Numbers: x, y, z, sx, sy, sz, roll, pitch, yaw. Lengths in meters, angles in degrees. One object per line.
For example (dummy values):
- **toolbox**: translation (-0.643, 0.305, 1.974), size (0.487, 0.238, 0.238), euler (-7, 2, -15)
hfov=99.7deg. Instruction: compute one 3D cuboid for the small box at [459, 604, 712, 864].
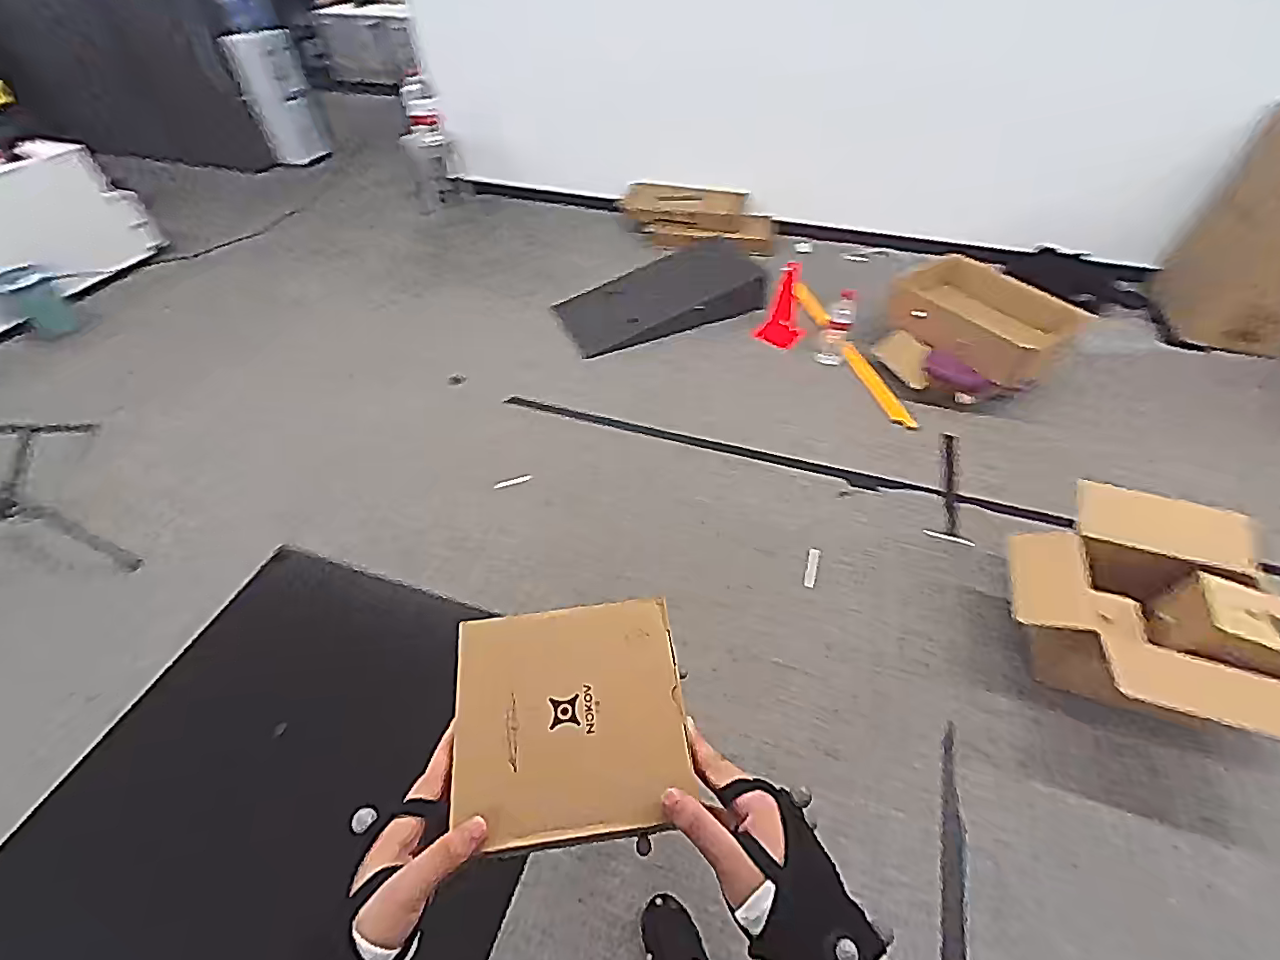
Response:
- **small box**: translation (-0.043, 0.227, 0.477), size (0.179, 0.176, 0.168), euler (-8, 54, -2)
